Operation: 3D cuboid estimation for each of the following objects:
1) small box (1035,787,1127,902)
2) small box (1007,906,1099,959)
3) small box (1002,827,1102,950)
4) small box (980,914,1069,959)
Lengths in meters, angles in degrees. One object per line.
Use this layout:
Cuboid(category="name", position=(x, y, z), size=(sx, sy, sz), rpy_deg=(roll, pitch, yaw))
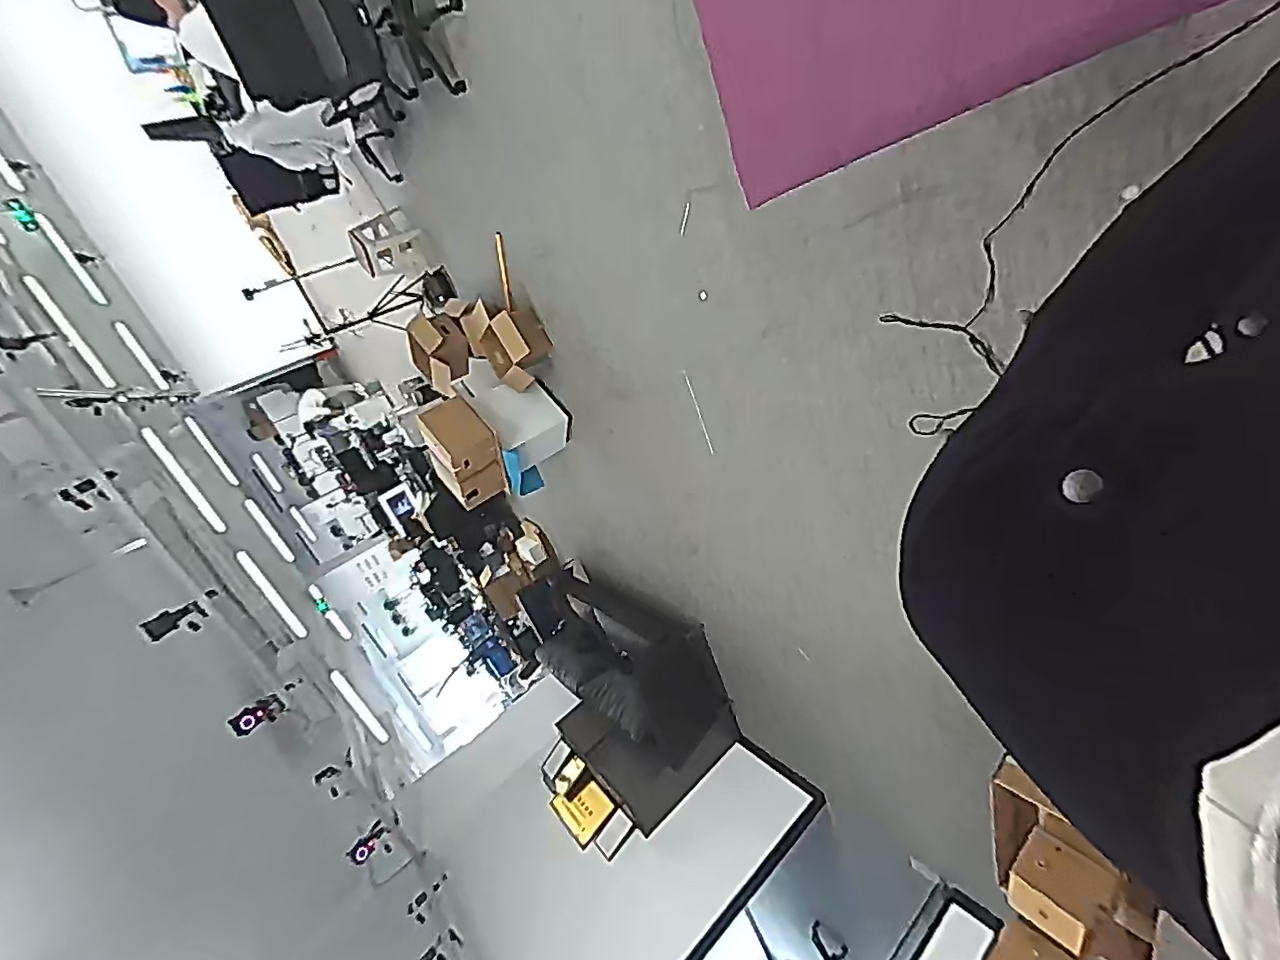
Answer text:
Cuboid(category="small box", position=(1.234, 1.015, 1.521), size=(0.168, 0.176, 0.179), rpy_deg=(19, 136, 52))
Cuboid(category="small box", position=(1.184, 1.291, 1.554), size=(0.168, 0.176, 0.179), rpy_deg=(18, 131, 52))
Cuboid(category="small box", position=(1.105, 1.086, 1.452), size=(0.168, 0.176, 0.179), rpy_deg=(22, 138, 50))
Cuboid(category="small box", position=(1.055, 1.355, 1.472), size=(0.168, 0.176, 0.179), rpy_deg=(15, 129, 53))
